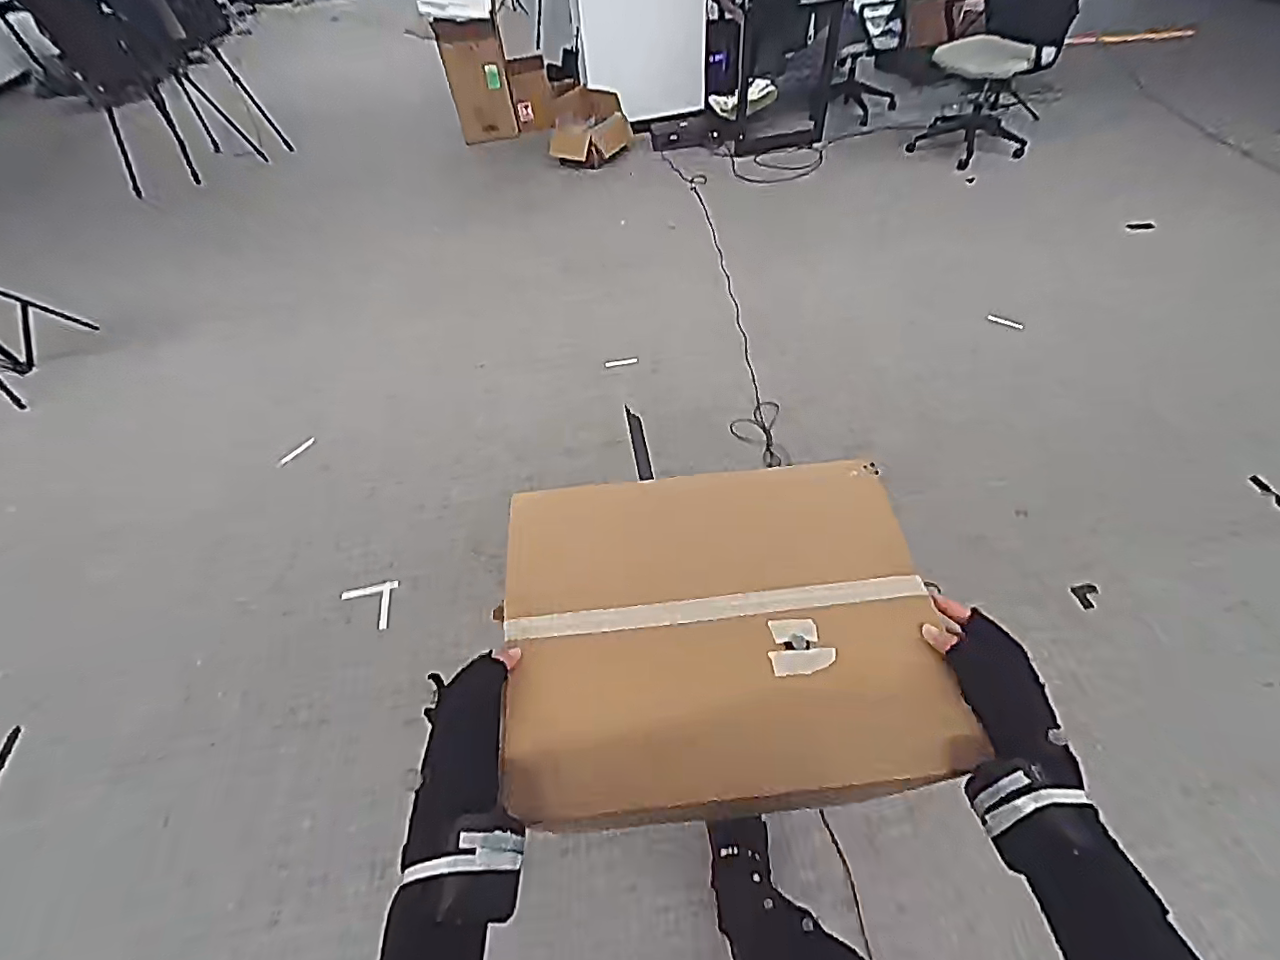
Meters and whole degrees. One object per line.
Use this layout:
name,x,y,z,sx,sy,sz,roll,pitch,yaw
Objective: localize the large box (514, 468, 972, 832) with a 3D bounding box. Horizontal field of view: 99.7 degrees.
large box,0.077,0.217,0.660,0.408,0.320,0.320,-6,56,-2
